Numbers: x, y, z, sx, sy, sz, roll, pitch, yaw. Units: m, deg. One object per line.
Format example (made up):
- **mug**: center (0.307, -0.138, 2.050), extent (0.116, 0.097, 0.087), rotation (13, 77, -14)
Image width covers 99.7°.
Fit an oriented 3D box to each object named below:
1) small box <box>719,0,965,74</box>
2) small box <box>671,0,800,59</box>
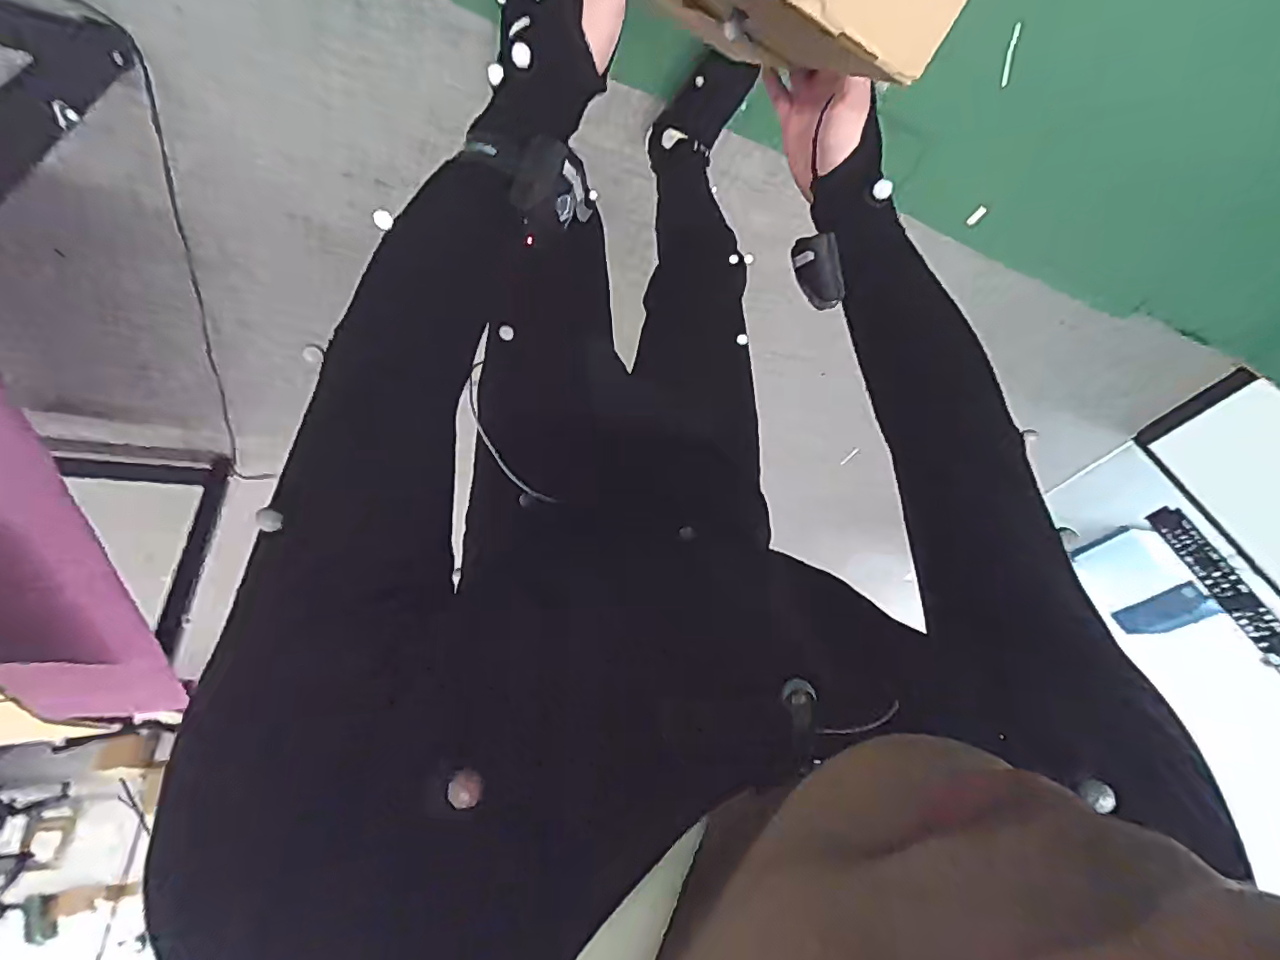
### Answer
- **small box**: center (0.115, -0.375, 0.305), extent (0.168, 0.176, 0.179), rotation (13, 126, -24)
- **small box**: center (0.084, -0.479, 0.428), extent (0.168, 0.176, 0.179), rotation (14, 124, -26)
